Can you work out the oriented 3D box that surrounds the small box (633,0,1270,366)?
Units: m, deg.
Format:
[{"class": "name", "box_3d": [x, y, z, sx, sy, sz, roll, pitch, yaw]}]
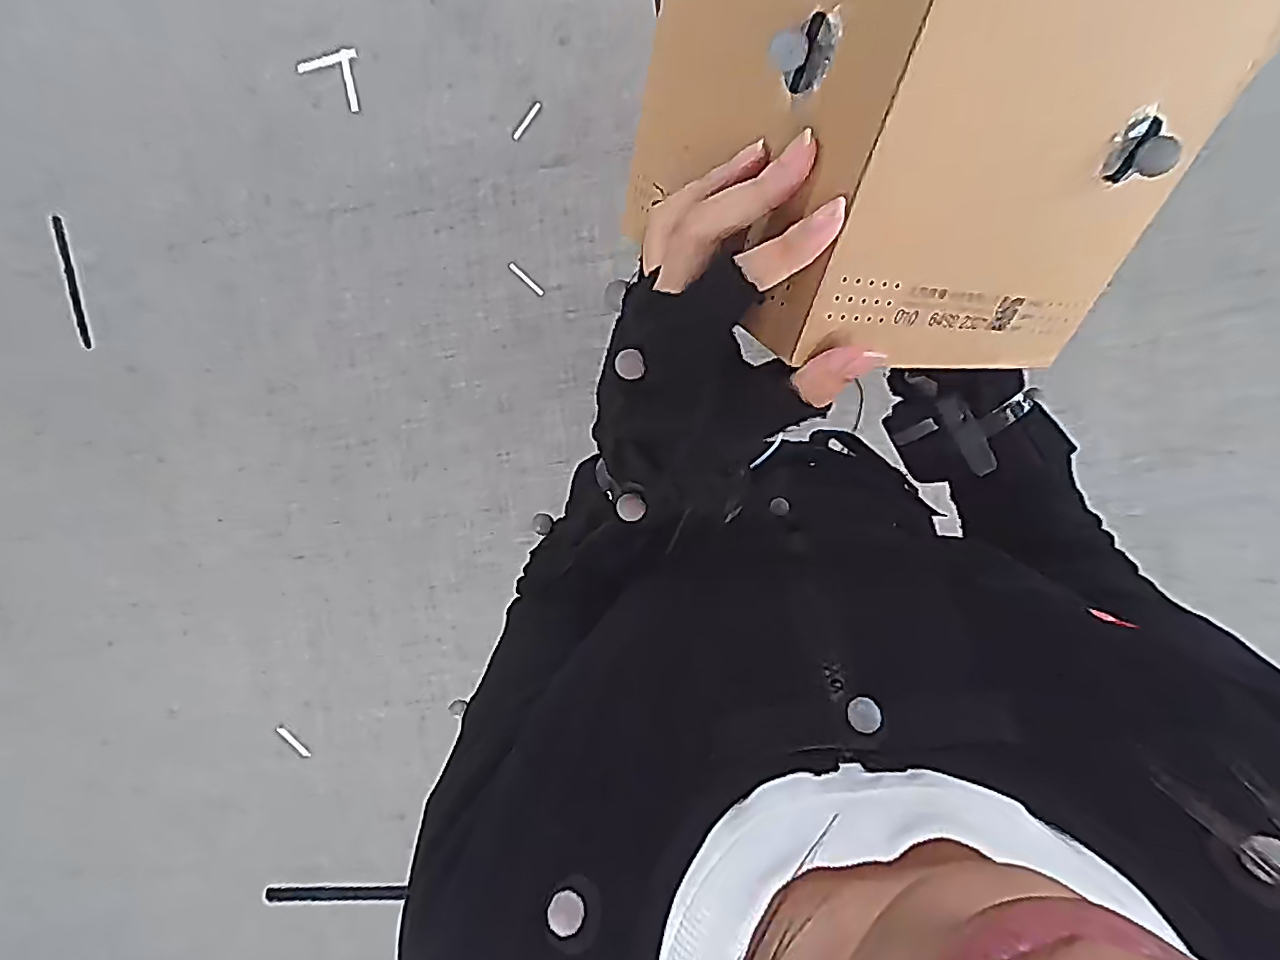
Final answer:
[{"class": "small box", "box_3d": [0.112, -0.164, 0.252, 0.168, 0.179, 0.176, -4, 129, -25]}]
